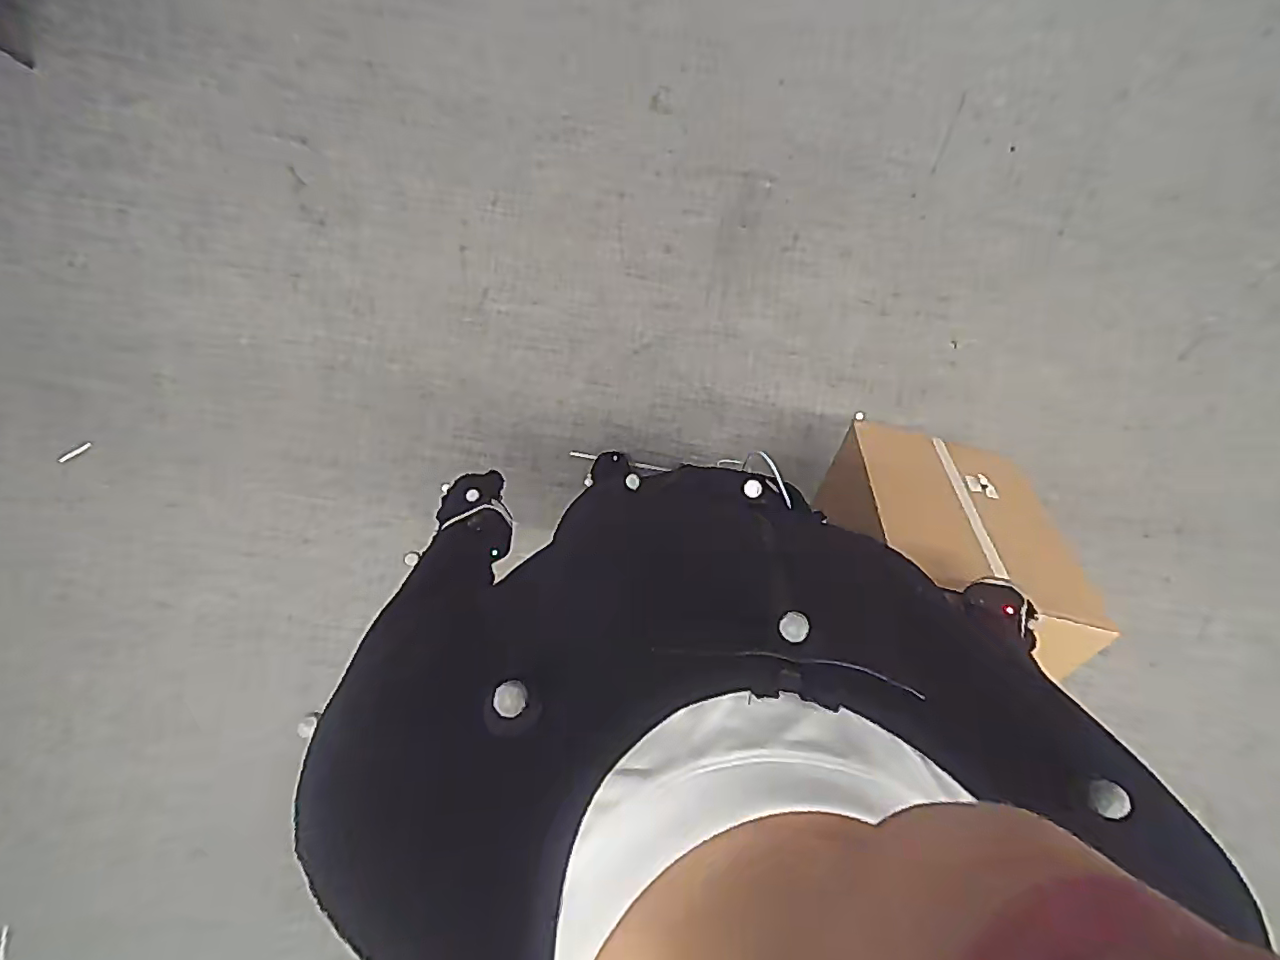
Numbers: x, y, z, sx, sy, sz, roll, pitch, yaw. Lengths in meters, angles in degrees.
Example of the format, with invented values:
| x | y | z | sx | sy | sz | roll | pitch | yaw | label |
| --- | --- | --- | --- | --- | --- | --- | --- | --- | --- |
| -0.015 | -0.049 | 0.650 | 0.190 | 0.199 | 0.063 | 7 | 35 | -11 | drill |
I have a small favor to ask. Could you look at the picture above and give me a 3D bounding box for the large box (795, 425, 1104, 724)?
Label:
| x | y | z | sx | sy | sz | roll | pitch | yaw | label |
| --- | --- | --- | --- | --- | --- | --- | --- | --- | --- |
| 0.493 | 0.160 | 0.986 | 0.320 | 0.408 | 0.320 | 14 | 129 | 0 | large box |
